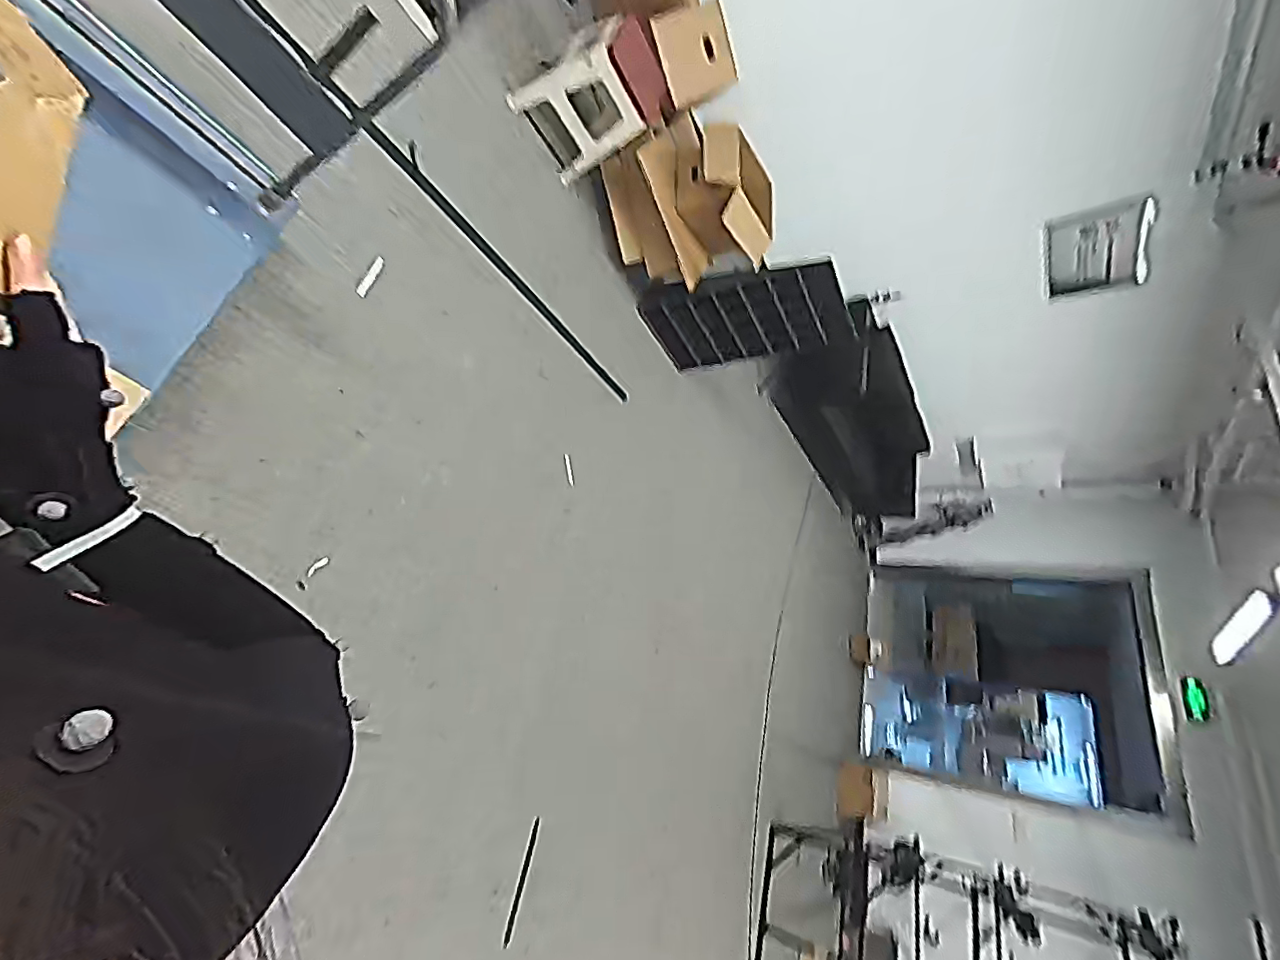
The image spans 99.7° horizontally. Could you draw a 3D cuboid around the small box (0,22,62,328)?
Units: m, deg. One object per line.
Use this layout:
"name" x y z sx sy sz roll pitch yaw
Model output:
"small box" -0.447 -0.193 0.258 0.179 0.168 0.176 0 80 -13
